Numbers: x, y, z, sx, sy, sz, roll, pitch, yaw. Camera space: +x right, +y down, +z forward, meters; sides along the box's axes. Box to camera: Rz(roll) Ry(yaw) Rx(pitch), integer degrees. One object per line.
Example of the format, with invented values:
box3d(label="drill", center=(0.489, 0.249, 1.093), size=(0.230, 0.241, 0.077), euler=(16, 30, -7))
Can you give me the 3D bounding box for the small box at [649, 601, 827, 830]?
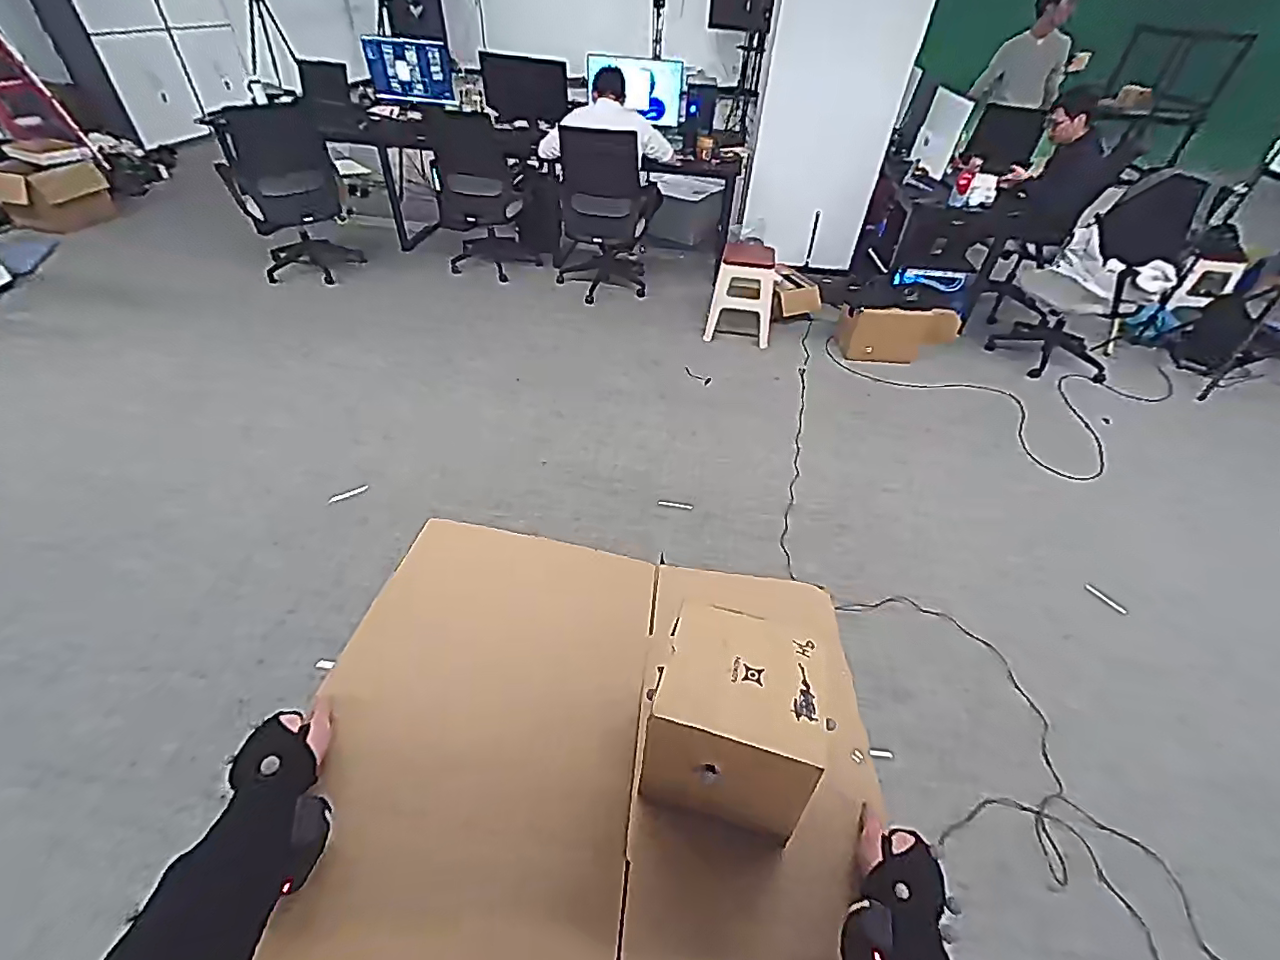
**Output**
box3d(label="small box", center=(0.113, 0.277, 0.642), size=(0.179, 0.176, 0.168), euler=(12, 36, 11))
